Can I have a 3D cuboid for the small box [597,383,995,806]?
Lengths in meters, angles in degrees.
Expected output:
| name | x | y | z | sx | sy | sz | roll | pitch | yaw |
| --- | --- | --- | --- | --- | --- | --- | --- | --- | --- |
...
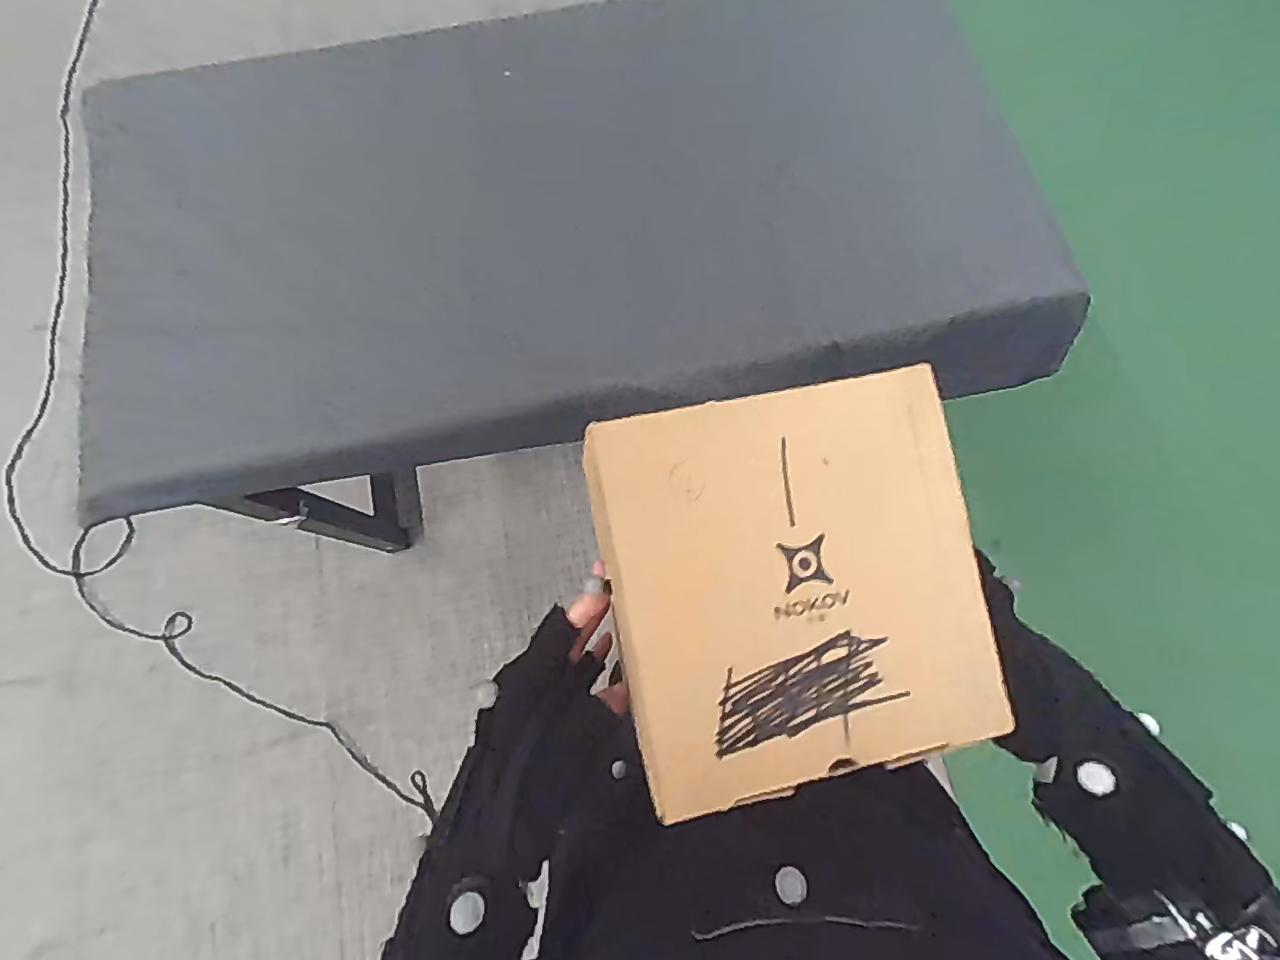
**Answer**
| name | x | y | z | sx | sy | sz | roll | pitch | yaw |
| --- | --- | --- | --- | --- | --- | --- | --- | --- | --- |
| small box | 0.068 | 0.053 | 0.331 | 0.168 | 0.176 | 0.179 | -9 | 87 | -7 |
